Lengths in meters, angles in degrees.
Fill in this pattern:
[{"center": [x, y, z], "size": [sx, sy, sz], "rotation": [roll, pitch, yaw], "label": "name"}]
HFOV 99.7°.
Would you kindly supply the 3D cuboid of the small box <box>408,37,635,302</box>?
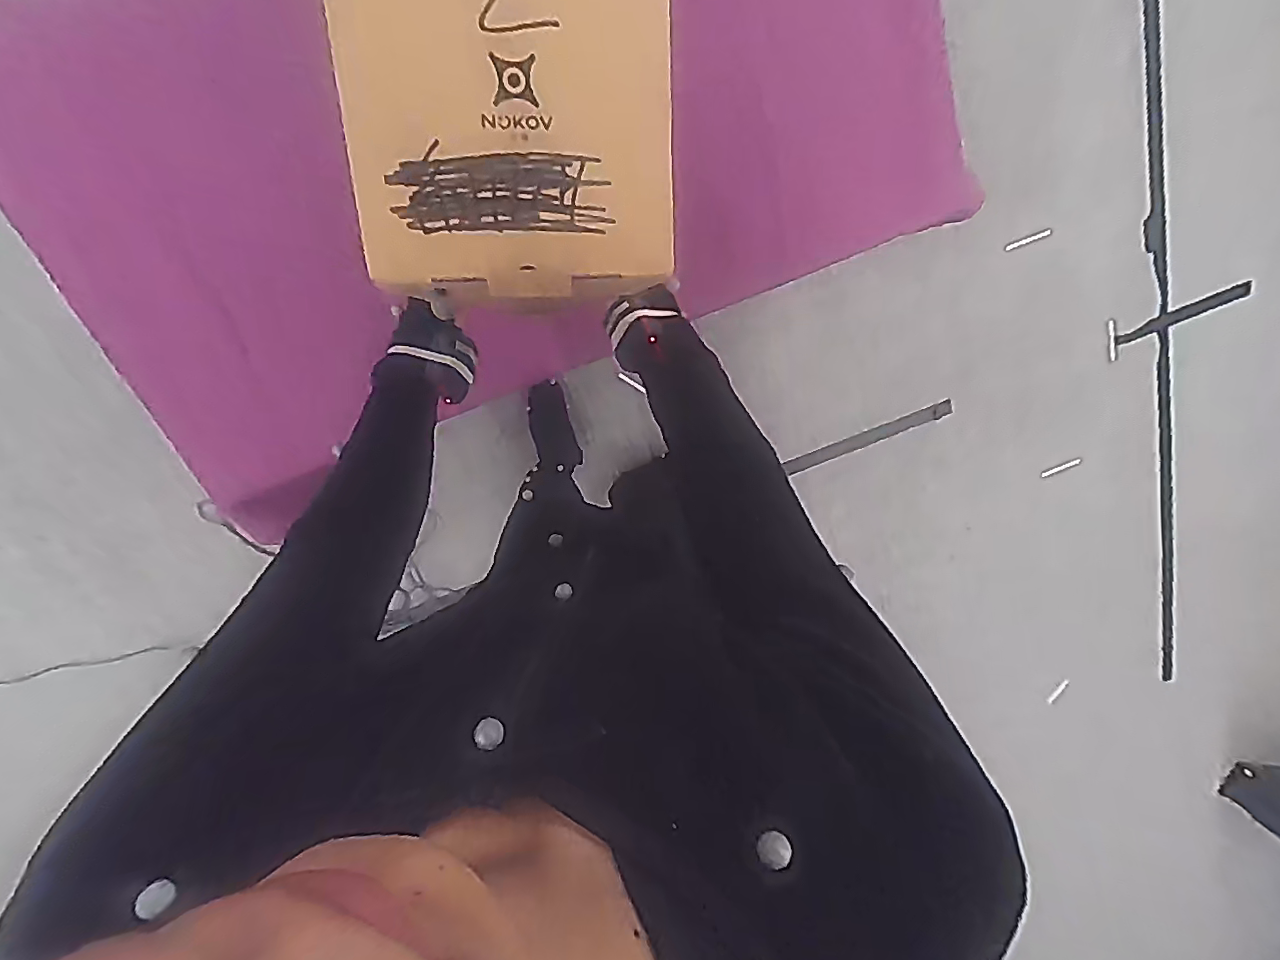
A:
[{"center": [-0.102, -0.262, 0.500], "size": [0.168, 0.176, 0.179], "rotation": [-5, 107, -10], "label": "small box"}]
